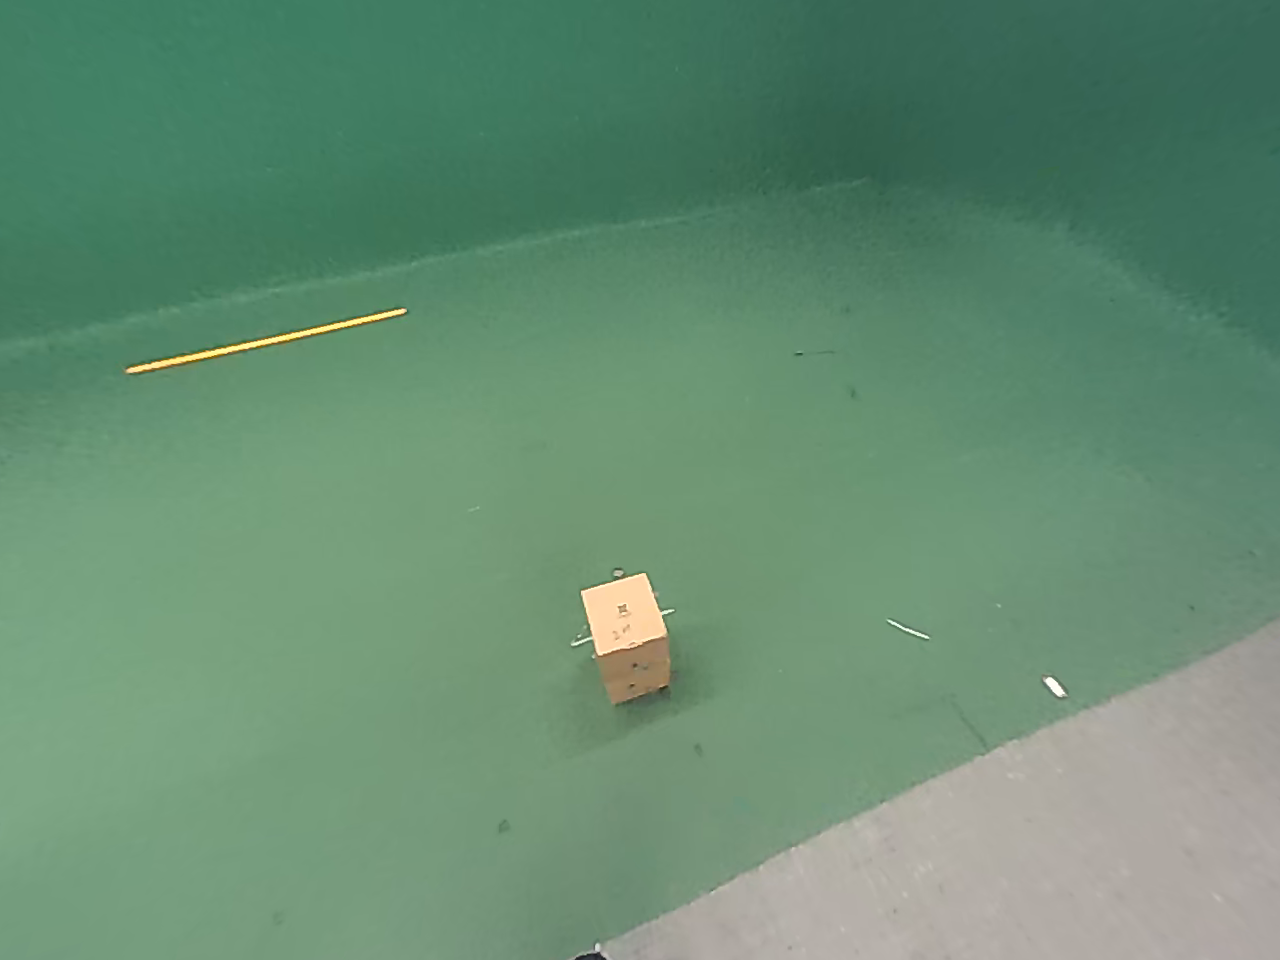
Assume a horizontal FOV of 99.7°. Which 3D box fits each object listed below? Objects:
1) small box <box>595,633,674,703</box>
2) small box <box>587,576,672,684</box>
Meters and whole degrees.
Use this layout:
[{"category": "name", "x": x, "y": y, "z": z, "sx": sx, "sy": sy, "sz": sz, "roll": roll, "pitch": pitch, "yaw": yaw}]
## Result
[{"category": "small box", "x": -0.012, "y": 0.478, "z": 1.454, "sx": 0.168, "sy": 0.176, "sz": 0.179, "roll": -18, "pitch": 49, "yaw": -10}, {"category": "small box", "x": -0.025, "y": 0.370, "z": 1.329, "sx": 0.168, "sy": 0.176, "sz": 0.179, "roll": -16, "pitch": 50, "yaw": -8}]
